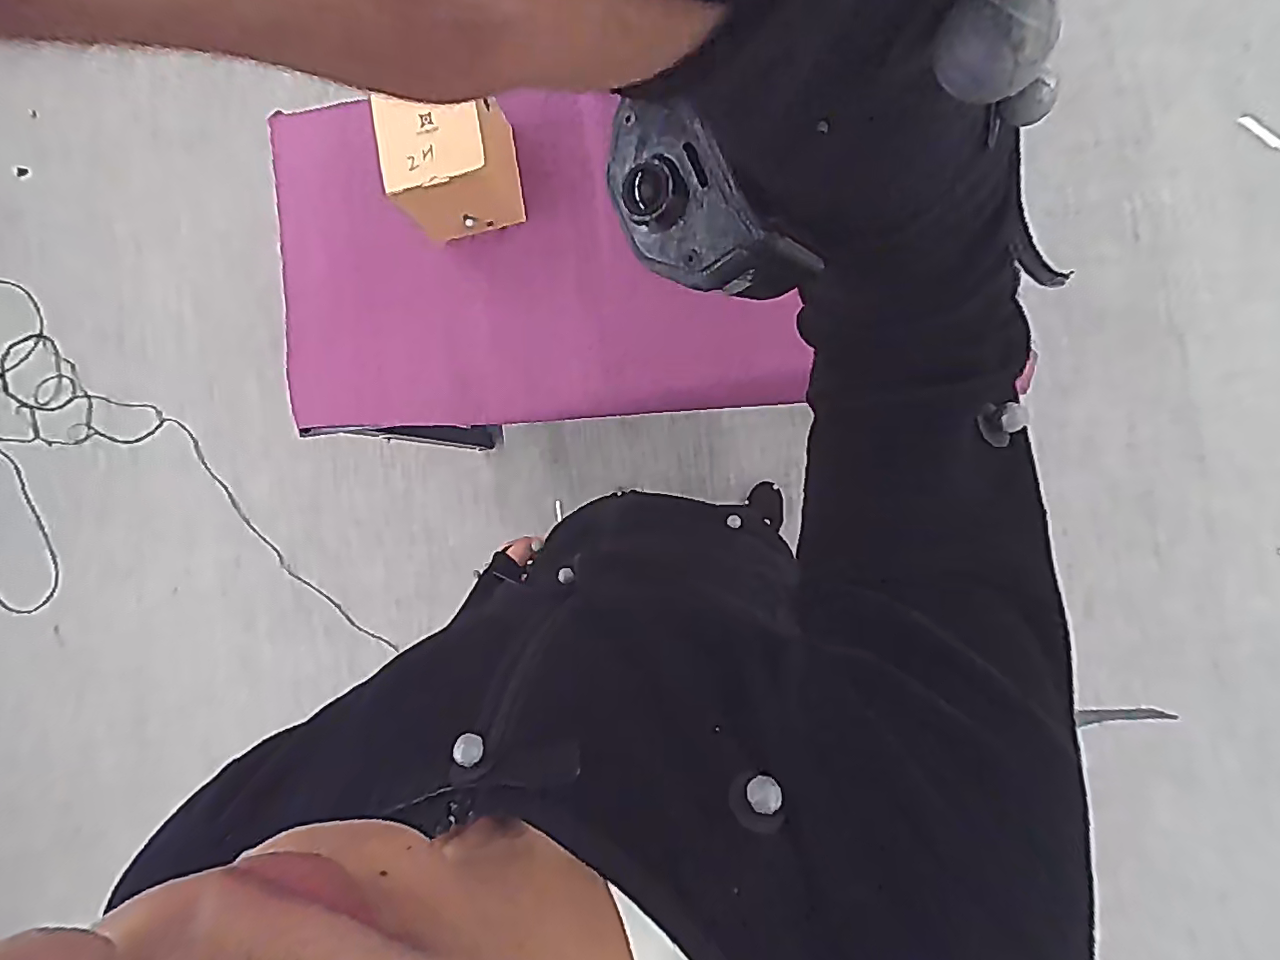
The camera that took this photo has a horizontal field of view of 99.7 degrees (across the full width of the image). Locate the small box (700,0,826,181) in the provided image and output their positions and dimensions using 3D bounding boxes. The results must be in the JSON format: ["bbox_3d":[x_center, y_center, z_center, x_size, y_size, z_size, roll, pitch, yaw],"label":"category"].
[{"bbox_3d":[0.177,-0.582,0.808,0.168,0.176,0.179,1,91,9],"label":"small box"}]

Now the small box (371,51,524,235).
[{"bbox_3d":[-0.304,-0.534,0.881,0.168,0.176,0.179,-9,89,9],"label":"small box"}]
